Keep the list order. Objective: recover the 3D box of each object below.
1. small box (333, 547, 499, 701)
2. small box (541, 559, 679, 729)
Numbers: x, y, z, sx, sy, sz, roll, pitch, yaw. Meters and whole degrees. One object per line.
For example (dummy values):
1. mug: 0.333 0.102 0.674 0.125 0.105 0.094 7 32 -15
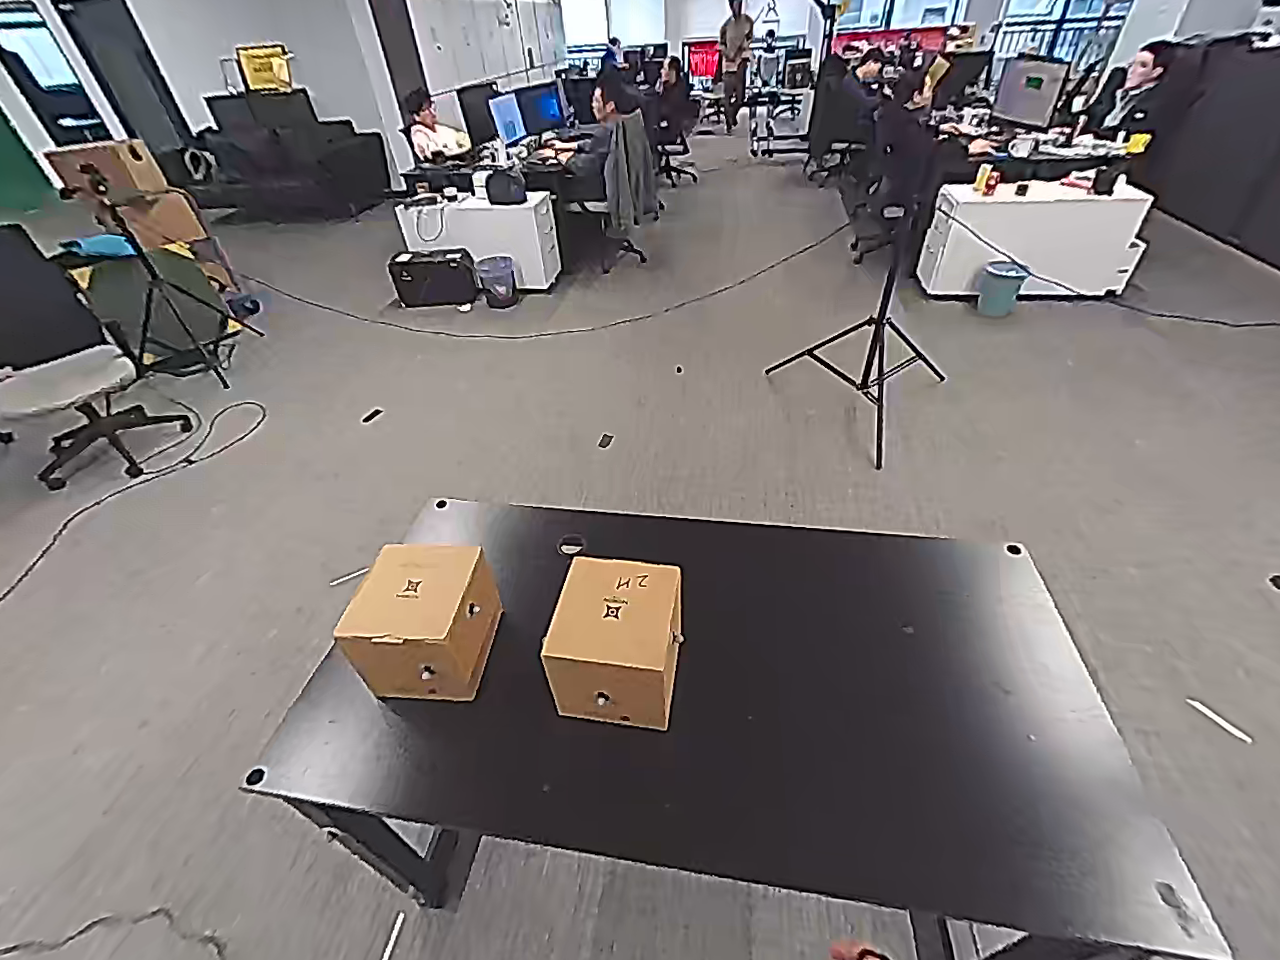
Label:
1. small box: -0.336 0.228 0.855 0.168 0.176 0.179 1 39 4
2. small box: -0.032 0.245 0.808 0.168 0.176 0.179 5 41 9
